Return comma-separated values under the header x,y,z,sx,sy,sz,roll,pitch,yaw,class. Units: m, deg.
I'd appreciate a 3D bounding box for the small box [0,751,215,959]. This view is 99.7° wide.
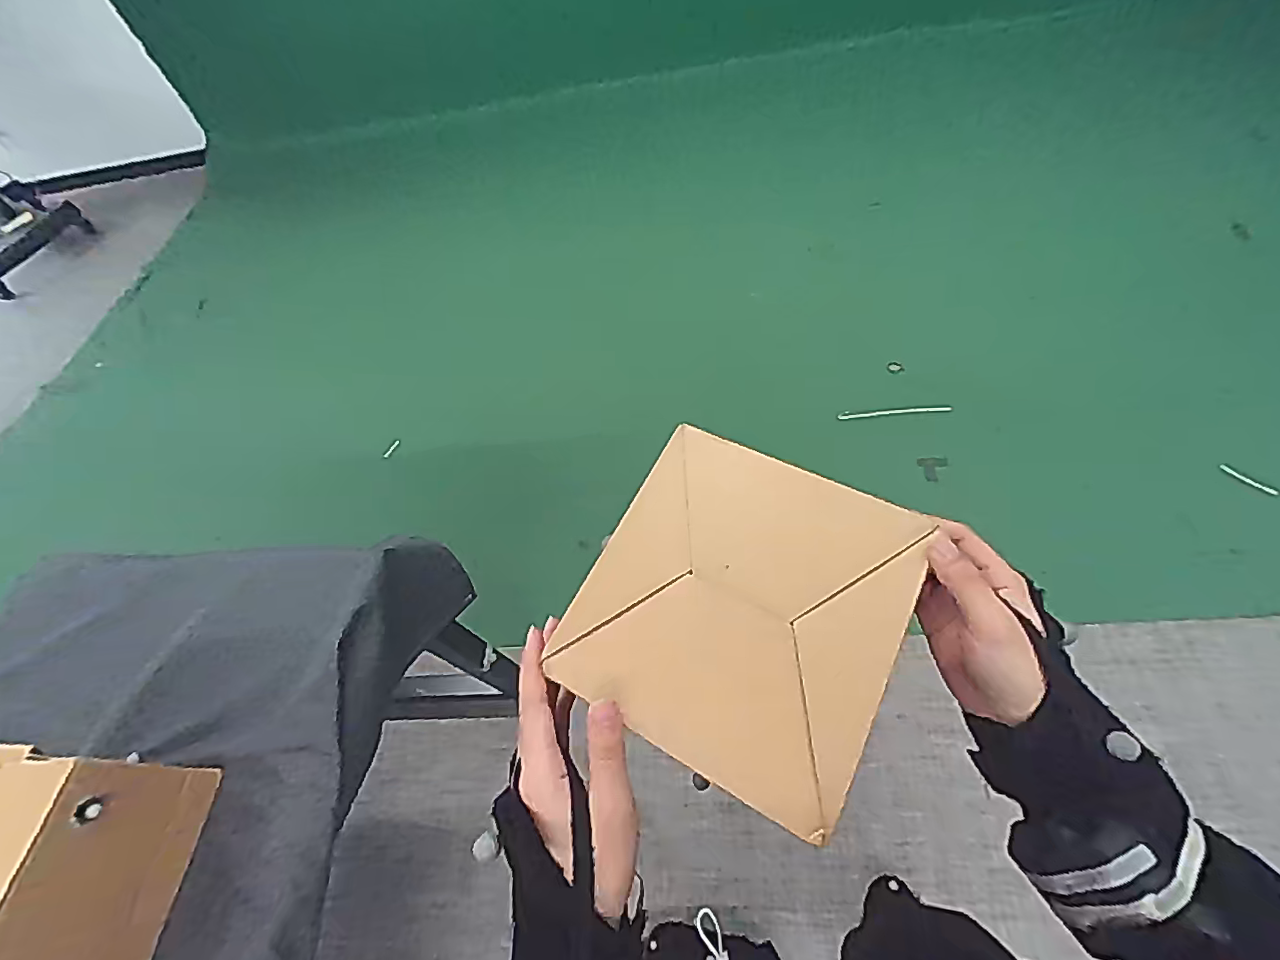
x,y,z,sx,sy,sz,roll,pitch,yaw,class
-0.570,0.367,0.520,0.168,0.176,0.179,-3,57,9,small box
